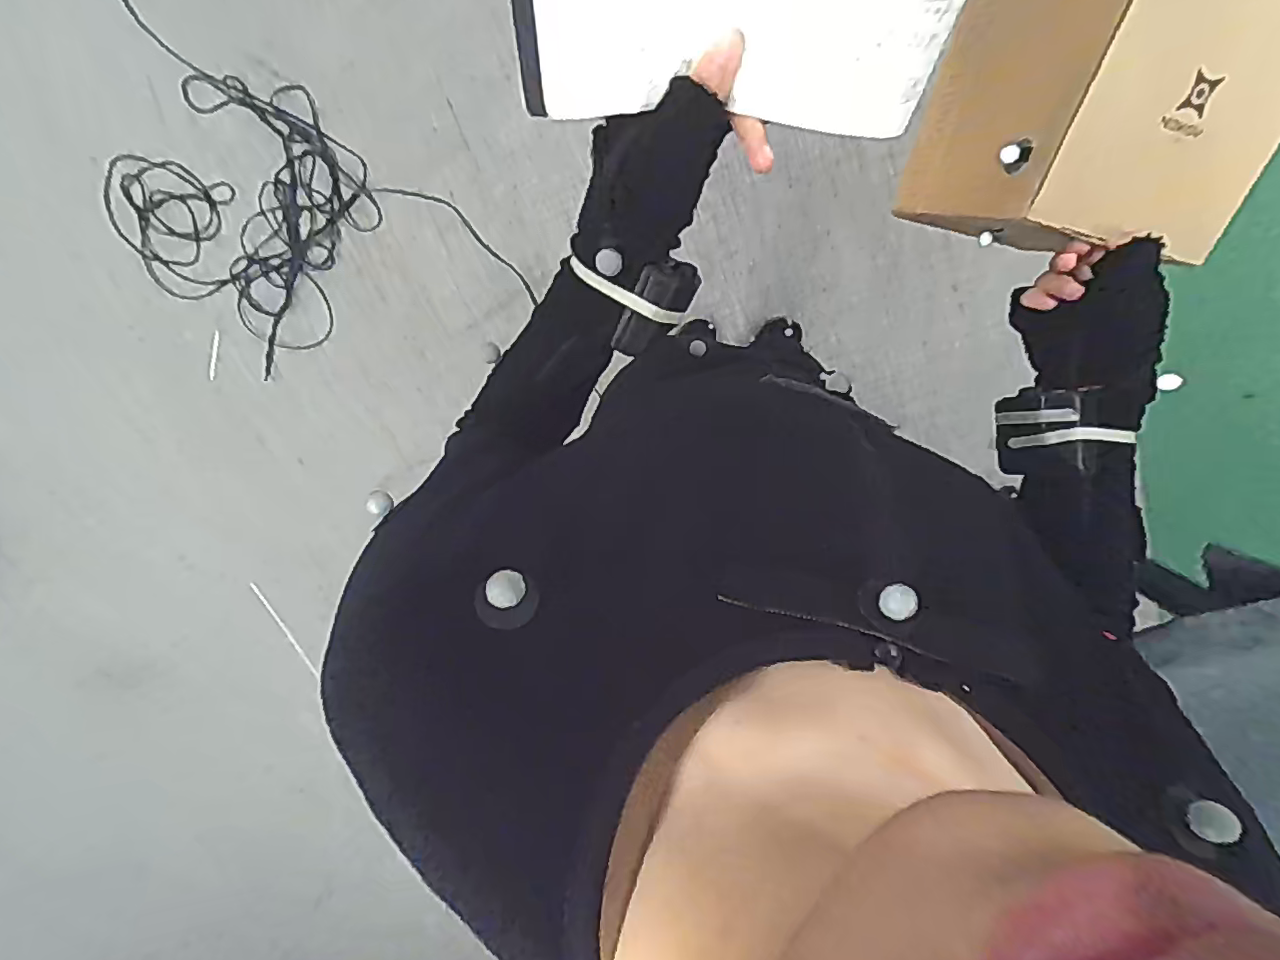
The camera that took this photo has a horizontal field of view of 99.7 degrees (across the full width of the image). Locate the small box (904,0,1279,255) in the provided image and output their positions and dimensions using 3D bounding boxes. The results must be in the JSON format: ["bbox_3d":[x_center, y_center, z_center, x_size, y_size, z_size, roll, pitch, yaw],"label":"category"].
[{"bbox_3d":[0.342,-0.287,0.415,0.168,0.176,0.179,5,117,-13],"label":"small box"}]
